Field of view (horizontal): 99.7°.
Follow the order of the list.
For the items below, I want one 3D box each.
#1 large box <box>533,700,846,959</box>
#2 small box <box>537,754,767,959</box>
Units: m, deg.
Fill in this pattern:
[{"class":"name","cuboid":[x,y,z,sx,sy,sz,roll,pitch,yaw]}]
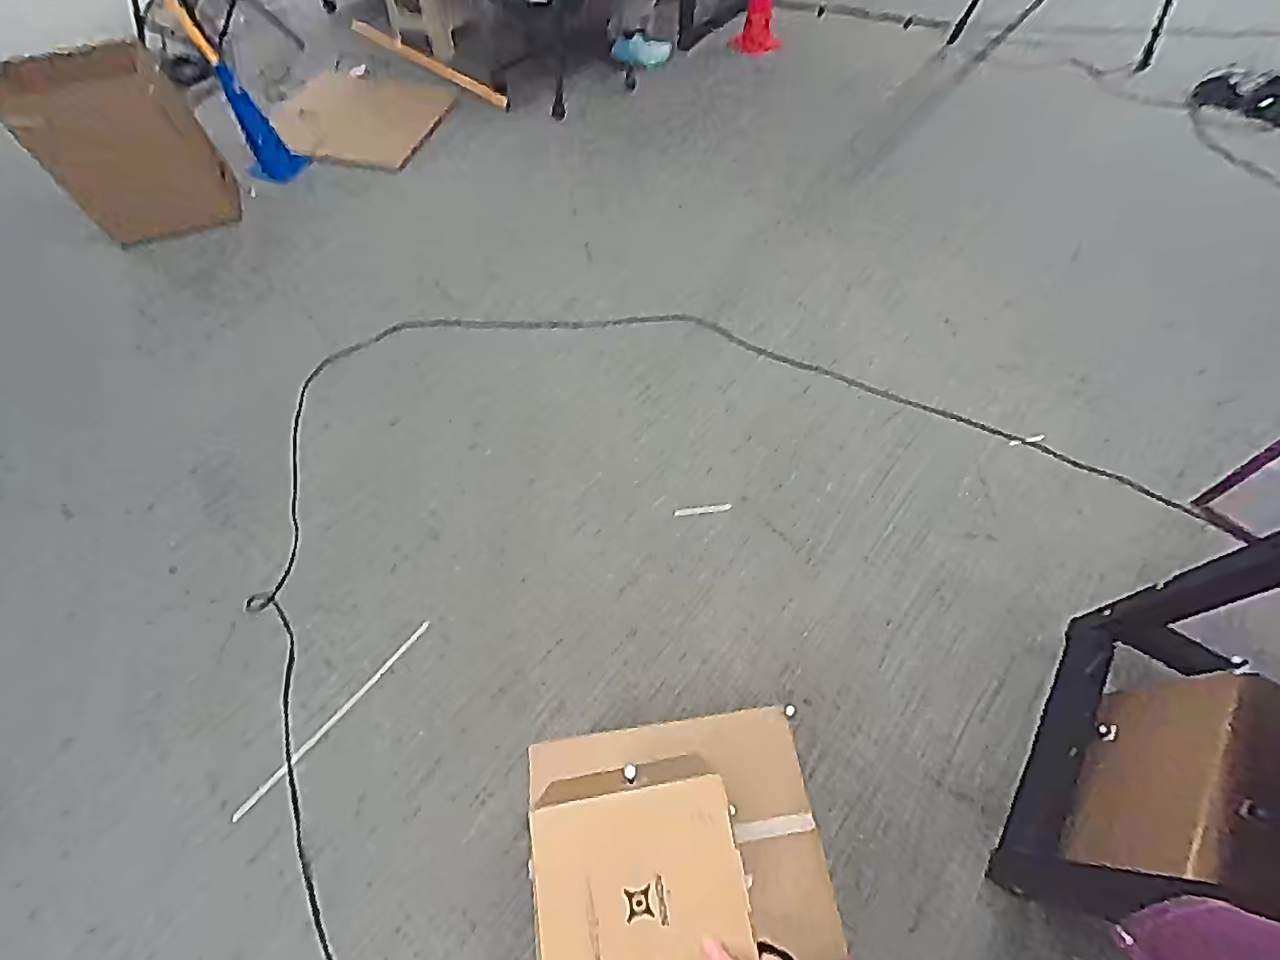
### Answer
[{"class":"large box","cuboid":[0.055,0.582,0.896,0.408,0.320,0.320,-8,61,-3]},{"class":"small box","cuboid":[0.005,0.372,0.517,0.179,0.176,0.168,-8,70,-4]}]
